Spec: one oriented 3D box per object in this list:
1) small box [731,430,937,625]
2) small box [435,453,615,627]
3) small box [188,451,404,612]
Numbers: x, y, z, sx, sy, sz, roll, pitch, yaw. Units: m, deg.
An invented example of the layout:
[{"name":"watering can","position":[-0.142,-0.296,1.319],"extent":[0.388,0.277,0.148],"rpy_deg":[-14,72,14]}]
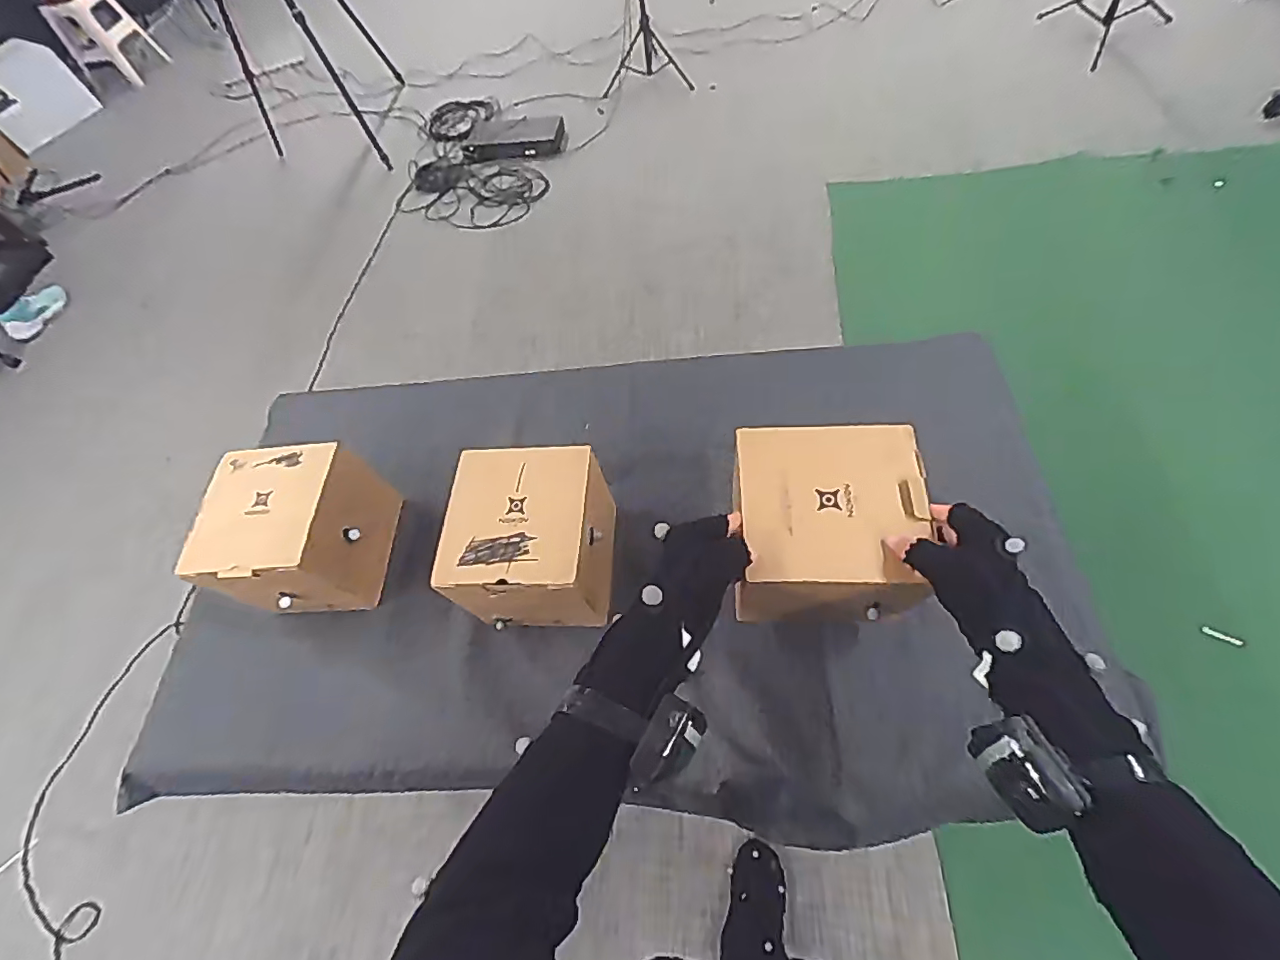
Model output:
[{"name":"small box","position":[0.193,0.060,0.597],"extent":[0.179,0.176,0.168],"rpy_deg":[-3,63,8]},{"name":"small box","position":[-0.131,0.084,0.693],"extent":[0.168,0.176,0.179],"rpy_deg":[-2,60,9]},{"name":"small box","position":[-0.456,0.081,0.752],"extent":[0.168,0.176,0.179],"rpy_deg":[-4,61,7]}]
